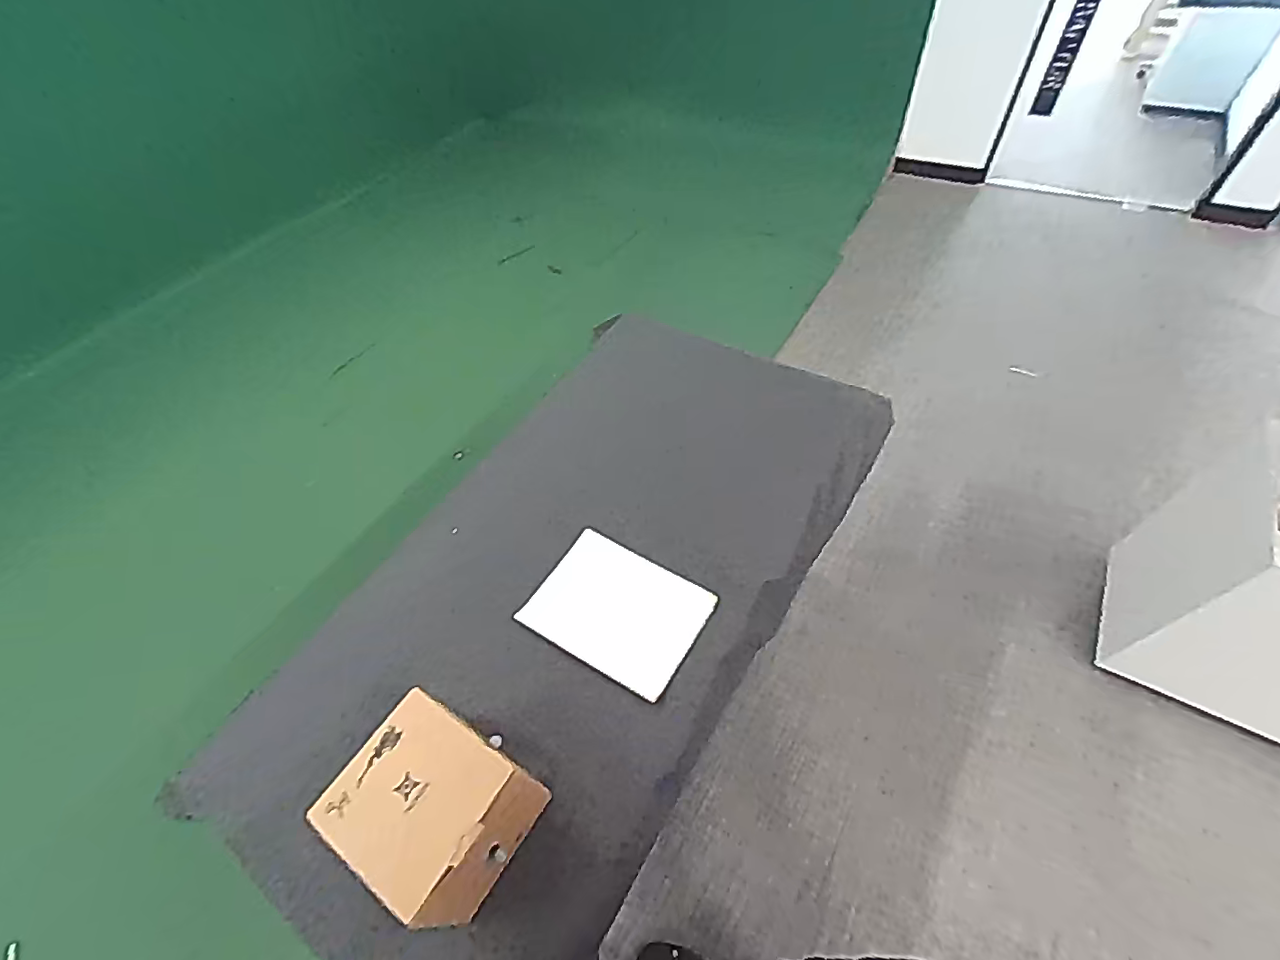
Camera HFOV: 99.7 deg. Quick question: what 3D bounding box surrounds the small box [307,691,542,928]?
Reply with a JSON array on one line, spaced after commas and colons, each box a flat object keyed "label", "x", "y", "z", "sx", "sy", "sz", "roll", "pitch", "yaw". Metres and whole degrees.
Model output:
[{"label": "small box", "x": -0.245, "y": 0.396, "z": 0.661, "sx": 0.179, "sy": 0.176, "sz": 0.168, "roll": 25, "pitch": 59, "yaw": 23}]
